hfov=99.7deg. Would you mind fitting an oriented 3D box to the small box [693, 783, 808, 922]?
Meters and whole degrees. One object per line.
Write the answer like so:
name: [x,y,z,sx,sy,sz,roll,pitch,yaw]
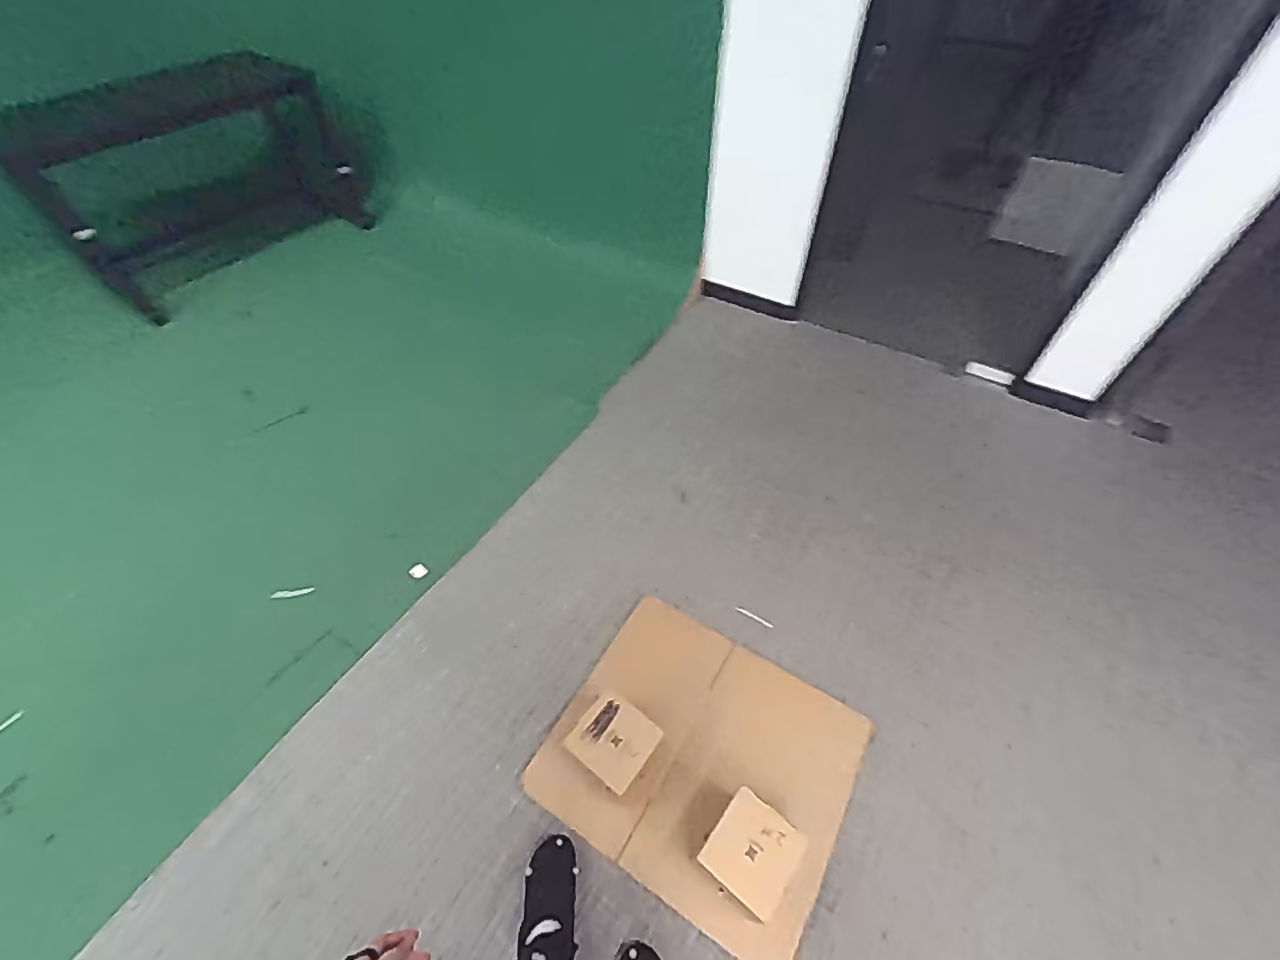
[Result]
small box: [0.226,0.790,1.149,0.168,0.176,0.179,34,58,23]
